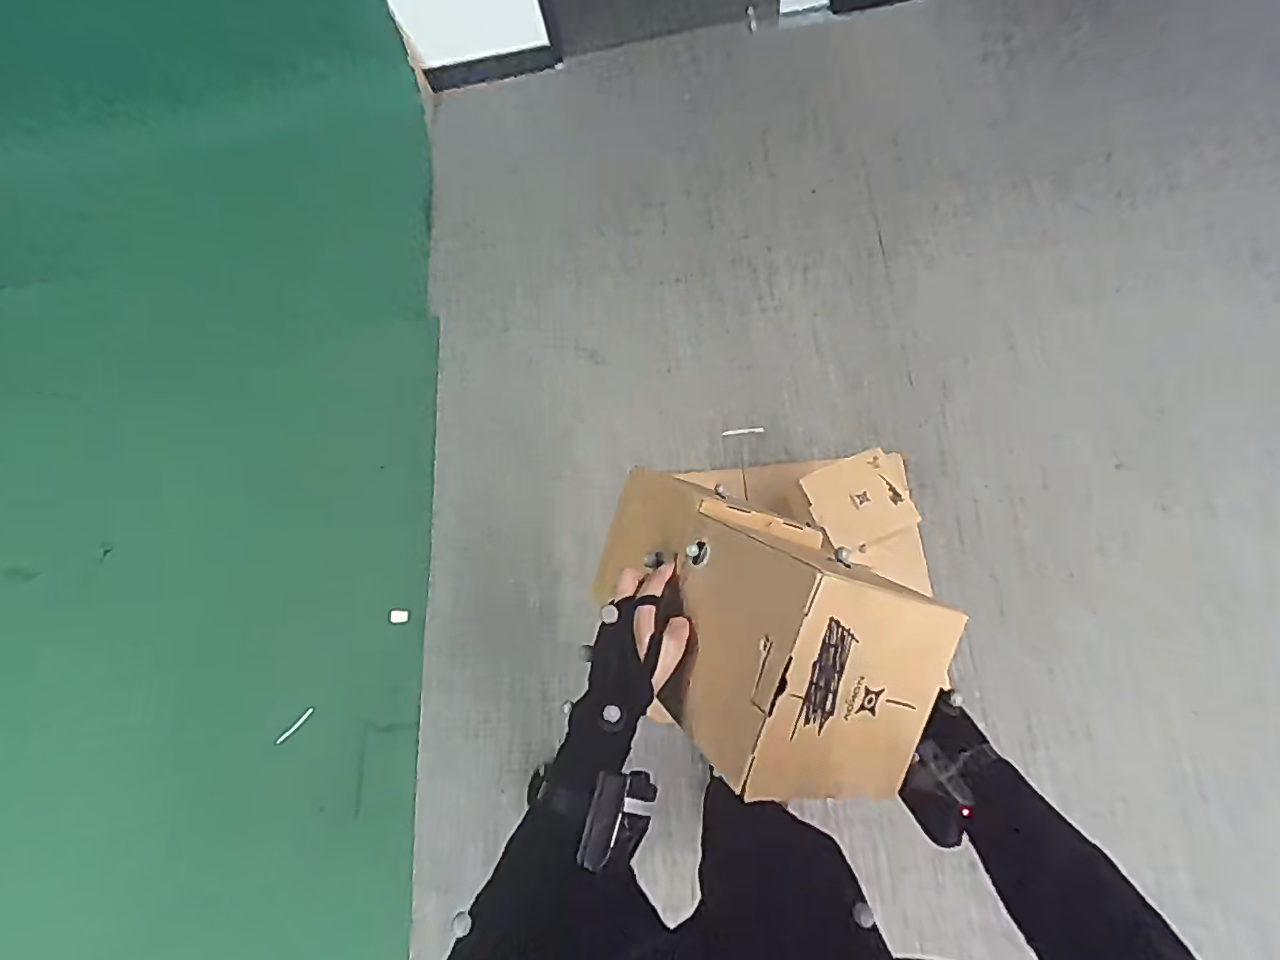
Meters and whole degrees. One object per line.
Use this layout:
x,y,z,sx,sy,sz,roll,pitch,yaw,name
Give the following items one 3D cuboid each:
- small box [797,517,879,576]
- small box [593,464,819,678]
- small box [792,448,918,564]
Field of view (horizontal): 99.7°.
0.457,0.114,1.263,0.168,0.176,0.179,14,76,11,small box
0.062,0.096,0.614,0.168,0.176,0.179,17,94,-28,small box
0.426,0.061,1.111,0.179,0.176,0.168,-22,71,1,small box
